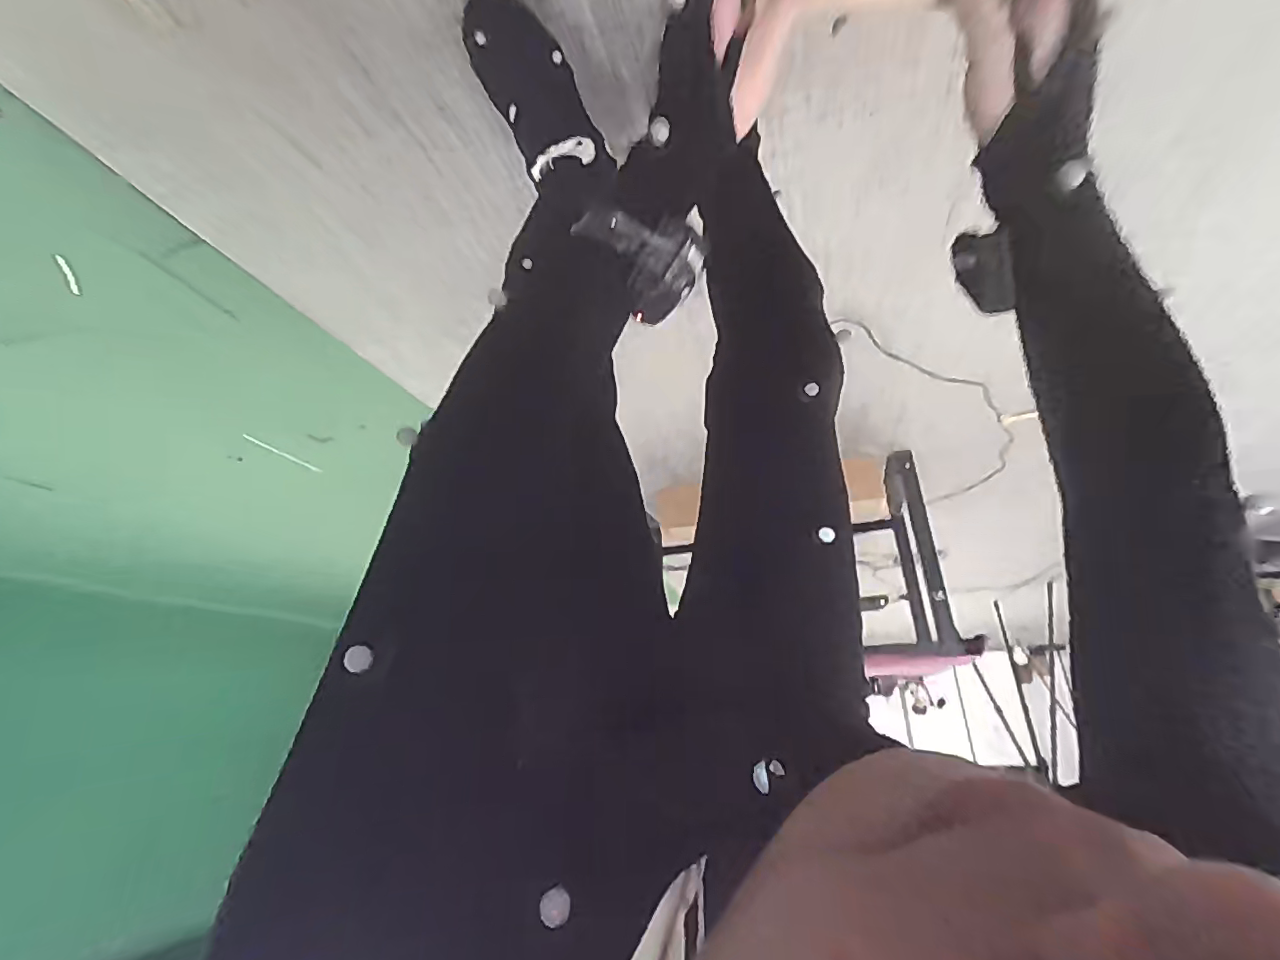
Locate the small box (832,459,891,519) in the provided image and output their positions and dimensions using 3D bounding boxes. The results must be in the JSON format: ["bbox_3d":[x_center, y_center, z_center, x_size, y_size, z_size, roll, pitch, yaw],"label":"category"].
[{"bbox_3d":[0.824,0.033,2.025,0.179,0.176,0.168,-9,156,18],"label":"small box"}]

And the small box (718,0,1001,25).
[{"bbox_3d":[0.150,-0.422,0.366,0.179,0.176,0.168,0,131,3],"label":"small box"}]

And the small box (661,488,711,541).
[{"bbox_3d":[0.190,0.141,2.237,0.179,0.176,0.168,-8,156,14],"label":"small box"}]
